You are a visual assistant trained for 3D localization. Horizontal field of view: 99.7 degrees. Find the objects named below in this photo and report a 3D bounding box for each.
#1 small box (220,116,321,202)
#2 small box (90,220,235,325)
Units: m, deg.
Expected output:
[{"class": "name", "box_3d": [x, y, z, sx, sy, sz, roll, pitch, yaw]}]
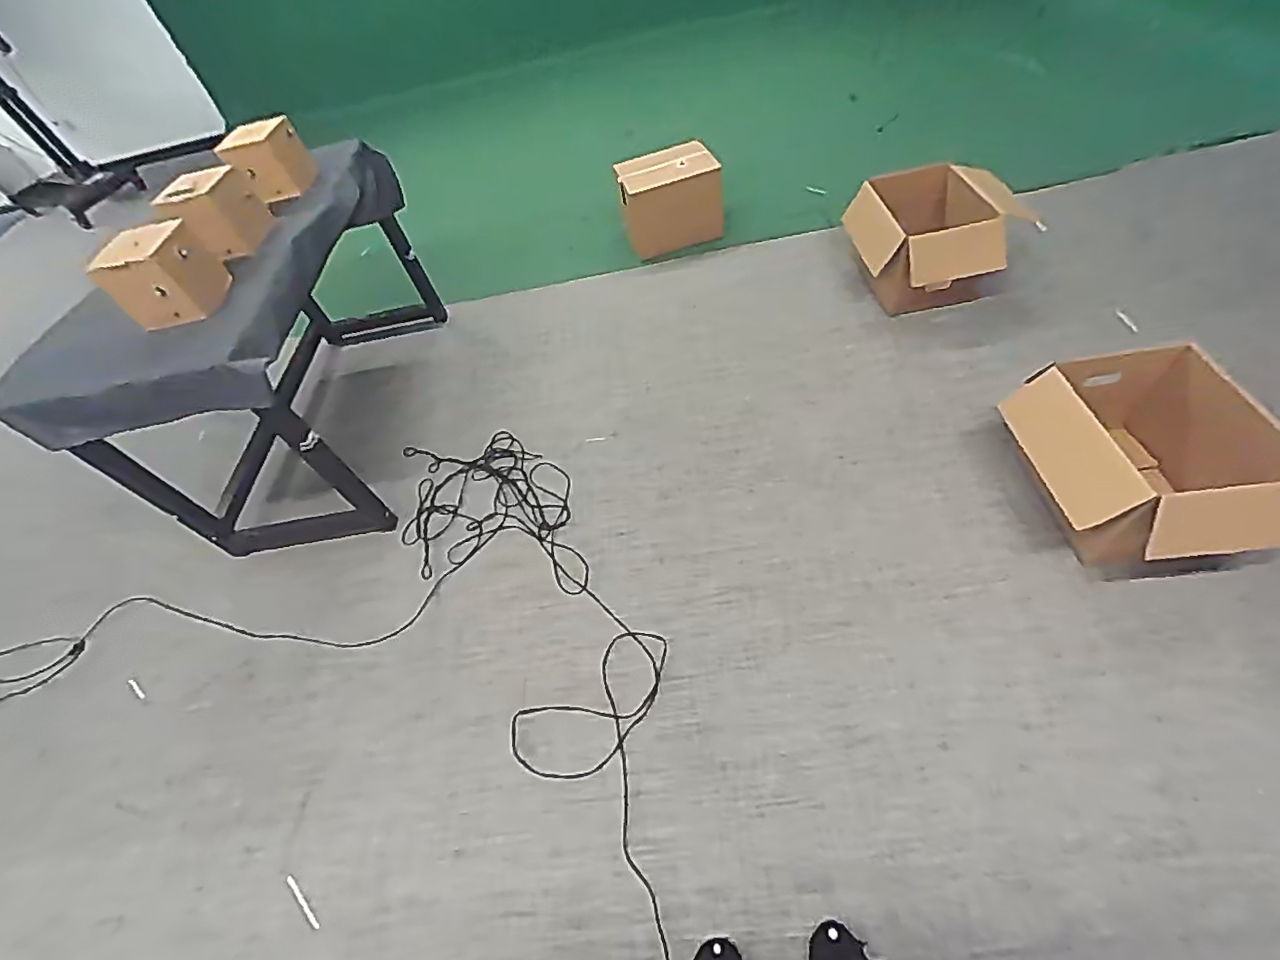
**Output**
[{"class": "small box", "box_3d": [-1.136, -0.988, 1.680, 0.168, 0.176, 0.179, -8, 52, 7]}, {"class": "small box", "box_3d": [-1.137, -0.493, 1.307, 0.168, 0.176, 0.179, -10, 51, 4]}]
